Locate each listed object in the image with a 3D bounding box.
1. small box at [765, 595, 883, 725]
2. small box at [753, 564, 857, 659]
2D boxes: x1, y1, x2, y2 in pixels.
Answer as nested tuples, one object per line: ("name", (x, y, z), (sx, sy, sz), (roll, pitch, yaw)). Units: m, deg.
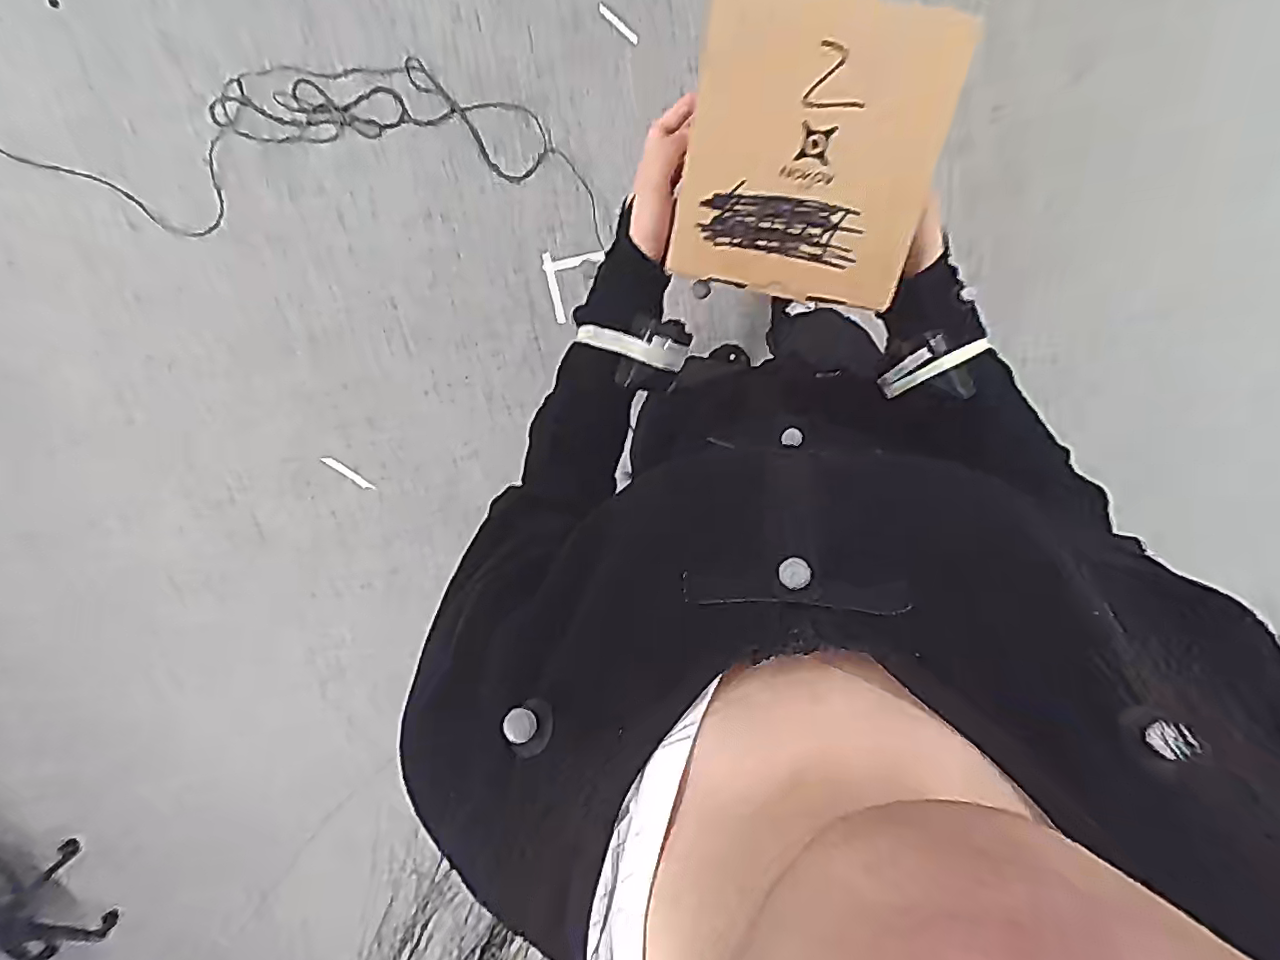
("small box", (0.337, 0.335, 1.023), (0.168, 0.176, 0.179), (-2, 105, 1))
("small box", (0.352, 0.291, 1.181), (0.179, 0.176, 0.168), (-2, 105, 2))
